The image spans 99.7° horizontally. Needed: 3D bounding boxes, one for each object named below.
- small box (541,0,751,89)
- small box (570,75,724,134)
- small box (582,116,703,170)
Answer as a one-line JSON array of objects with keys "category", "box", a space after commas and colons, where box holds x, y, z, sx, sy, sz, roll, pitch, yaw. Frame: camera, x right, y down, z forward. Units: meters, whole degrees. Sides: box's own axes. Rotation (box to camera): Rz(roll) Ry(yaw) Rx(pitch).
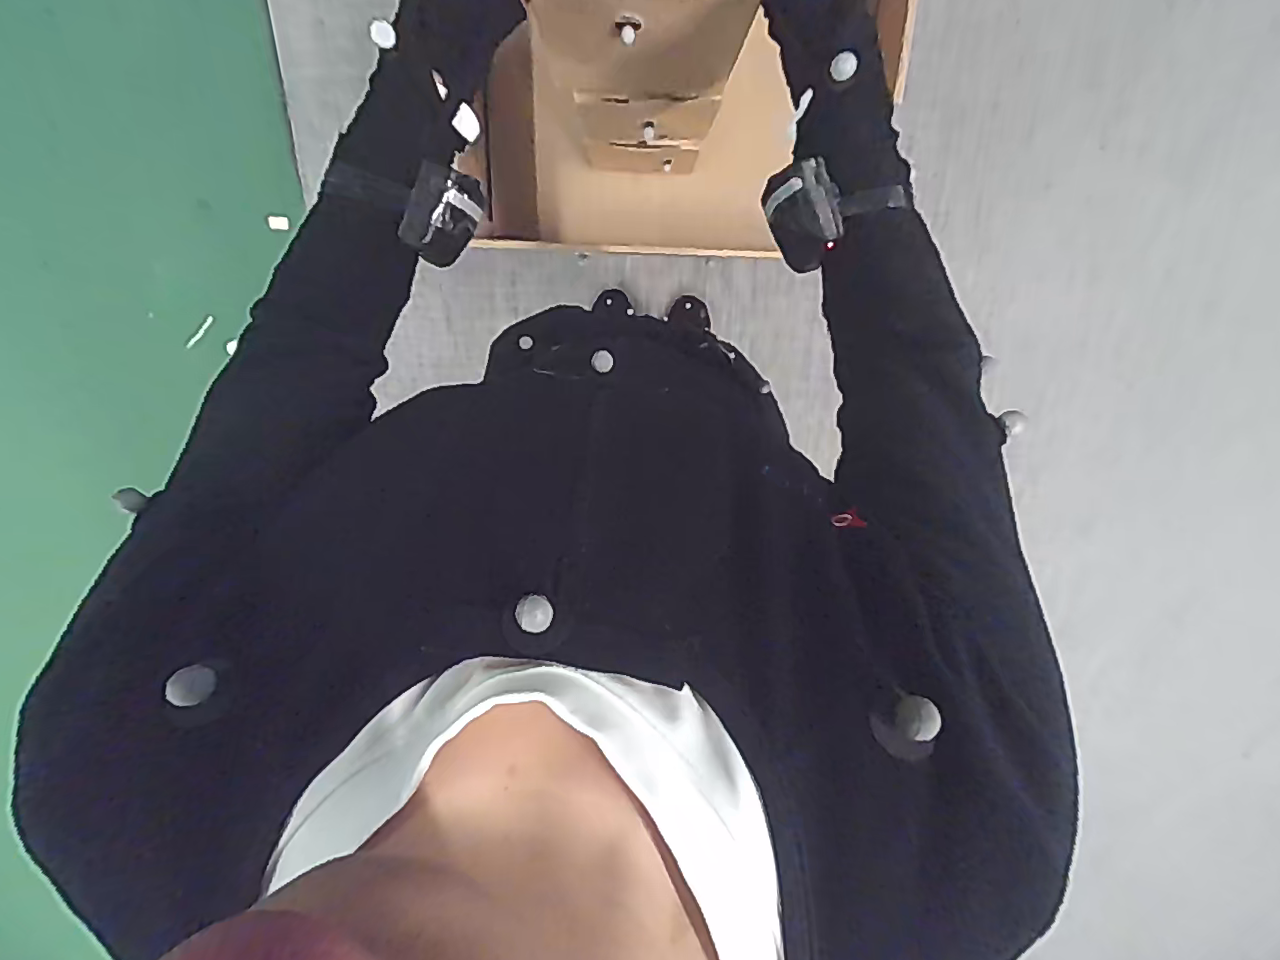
[{"category": "small box", "box": [0.005, -0.455, 0.448, 0.179, 0.176, 0.168, 2, 105, -3]}, {"category": "small box", "box": [0.009, -0.512, 0.619, 0.168, 0.176, 0.179, -1, 110, 0]}, {"category": "small box", "box": [0.008, -0.560, 0.776, 0.168, 0.176, 0.179, 2, 108, -1]}]
